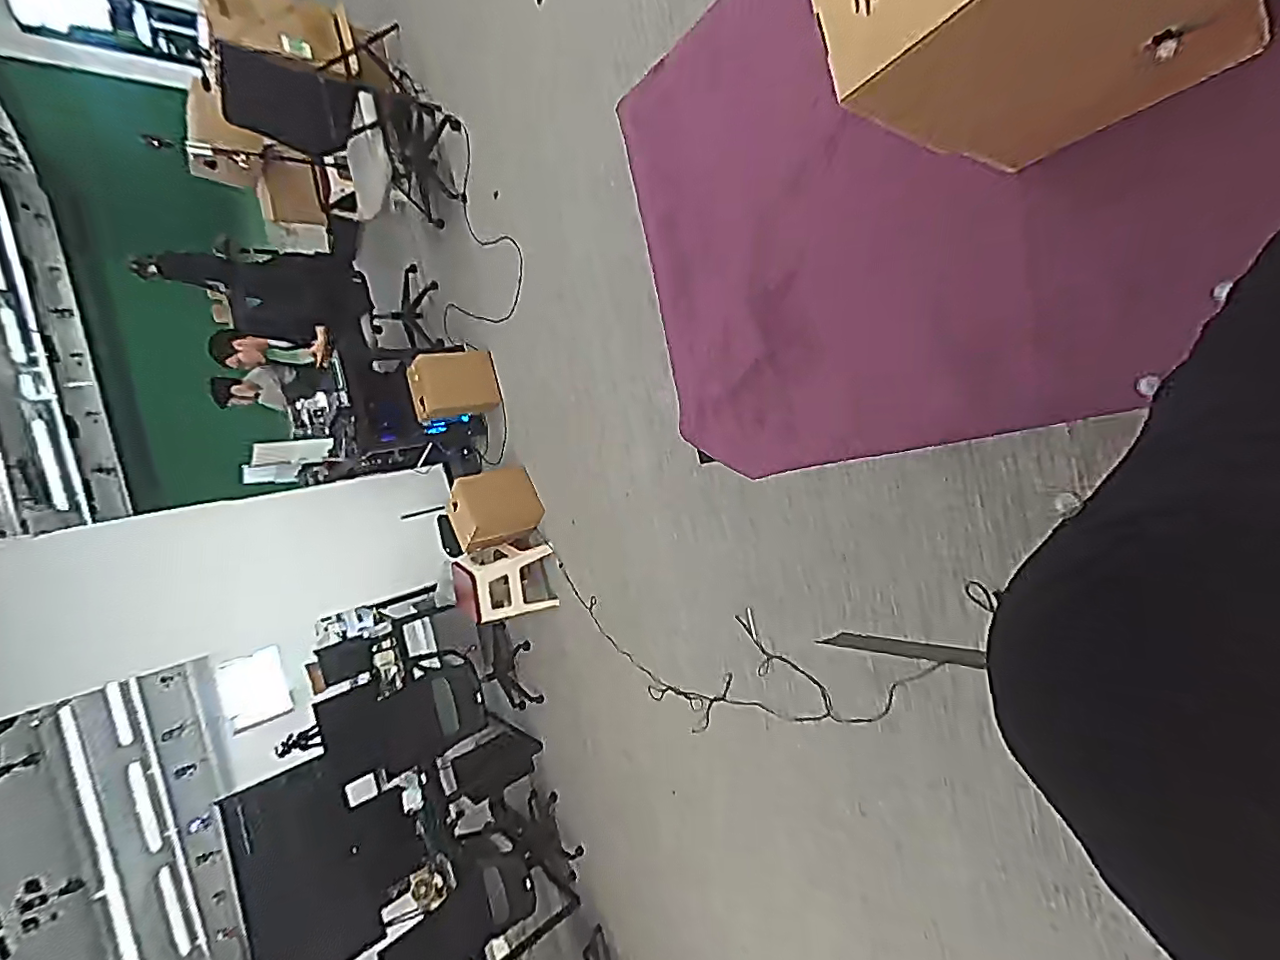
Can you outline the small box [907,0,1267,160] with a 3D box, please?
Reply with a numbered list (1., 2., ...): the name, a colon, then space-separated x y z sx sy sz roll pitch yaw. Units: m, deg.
1. small box: 0.337 -0.382 0.419 0.179 0.176 0.168 -11 93 52
